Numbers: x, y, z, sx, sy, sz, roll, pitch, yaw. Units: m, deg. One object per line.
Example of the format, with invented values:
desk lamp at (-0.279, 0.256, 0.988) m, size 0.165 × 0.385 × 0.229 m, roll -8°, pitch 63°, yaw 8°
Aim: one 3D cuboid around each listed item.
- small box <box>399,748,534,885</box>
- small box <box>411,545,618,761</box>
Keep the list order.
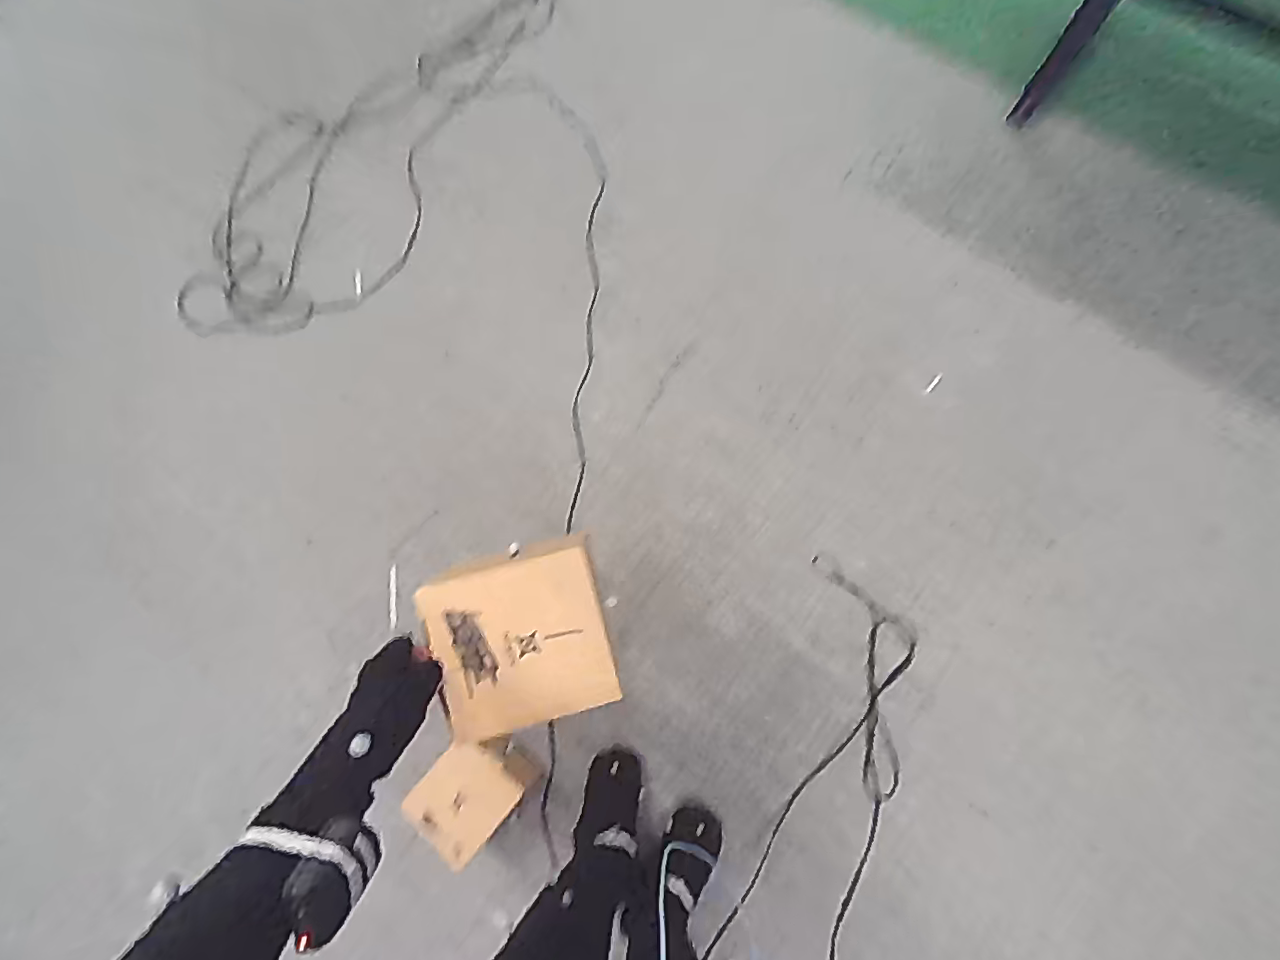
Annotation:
small box at (-0.330, 0.637, 1.076) m, size 0.168 × 0.176 × 0.179 m, roll 40°, pitch 78°, yaw 13°
small box at (-0.129, 0.181, 0.621) m, size 0.179 × 0.176 × 0.168 m, roll -16°, pitch 91°, yaw -5°
